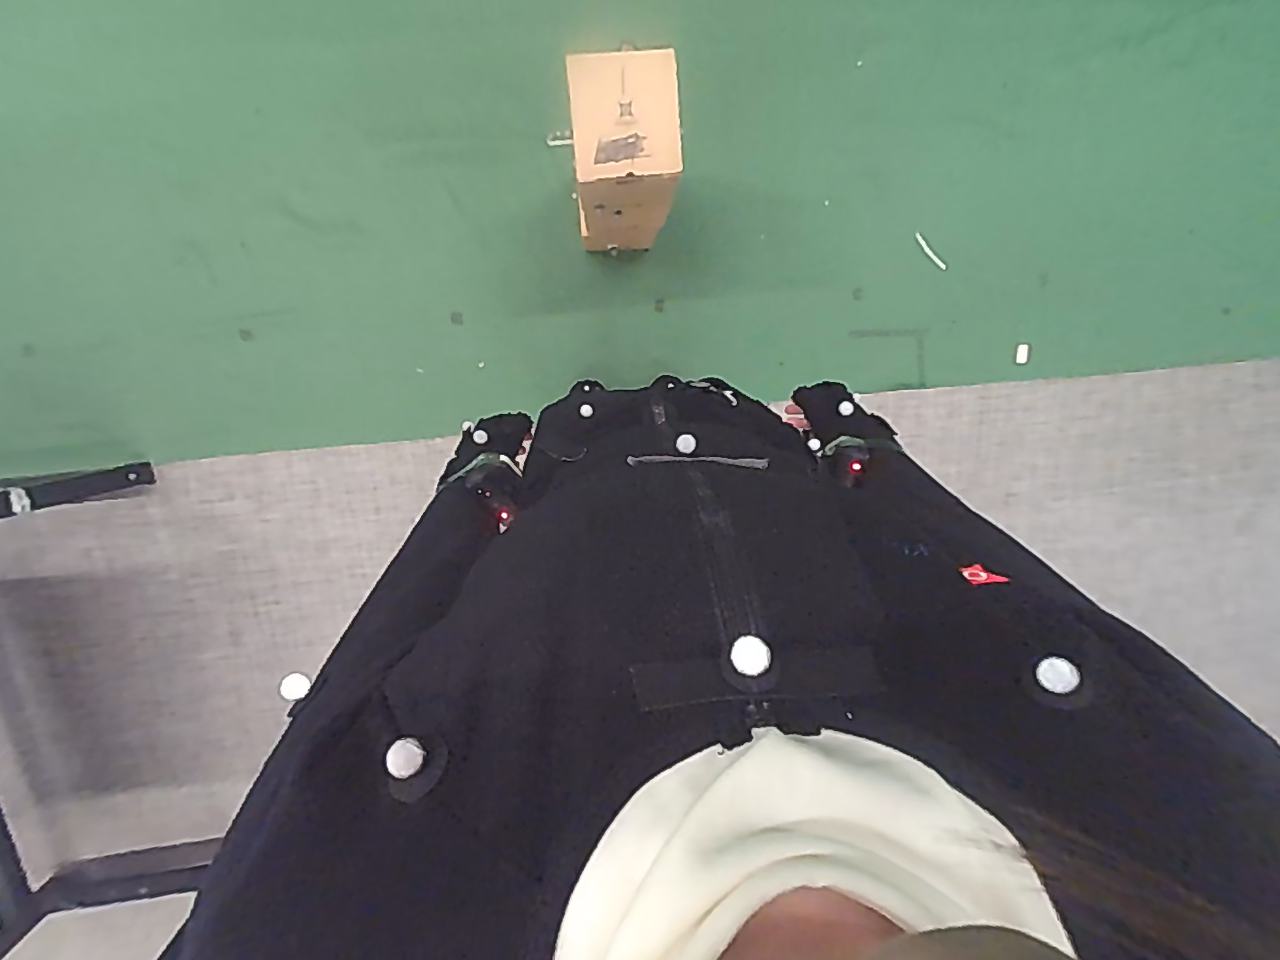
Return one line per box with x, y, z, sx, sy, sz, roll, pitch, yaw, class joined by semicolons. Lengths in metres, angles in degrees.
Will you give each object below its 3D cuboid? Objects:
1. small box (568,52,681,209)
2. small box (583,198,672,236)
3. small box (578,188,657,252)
-0.025;-0.564;0.899;0.168;0.176;0.179;-5;101;-3;small box
-0.032;-0.598;1.060;0.168;0.176;0.179;-5;101;-2;small box
-0.051;-0.620;1.203;0.168;0.176;0.179;-2;102;-2;small box
